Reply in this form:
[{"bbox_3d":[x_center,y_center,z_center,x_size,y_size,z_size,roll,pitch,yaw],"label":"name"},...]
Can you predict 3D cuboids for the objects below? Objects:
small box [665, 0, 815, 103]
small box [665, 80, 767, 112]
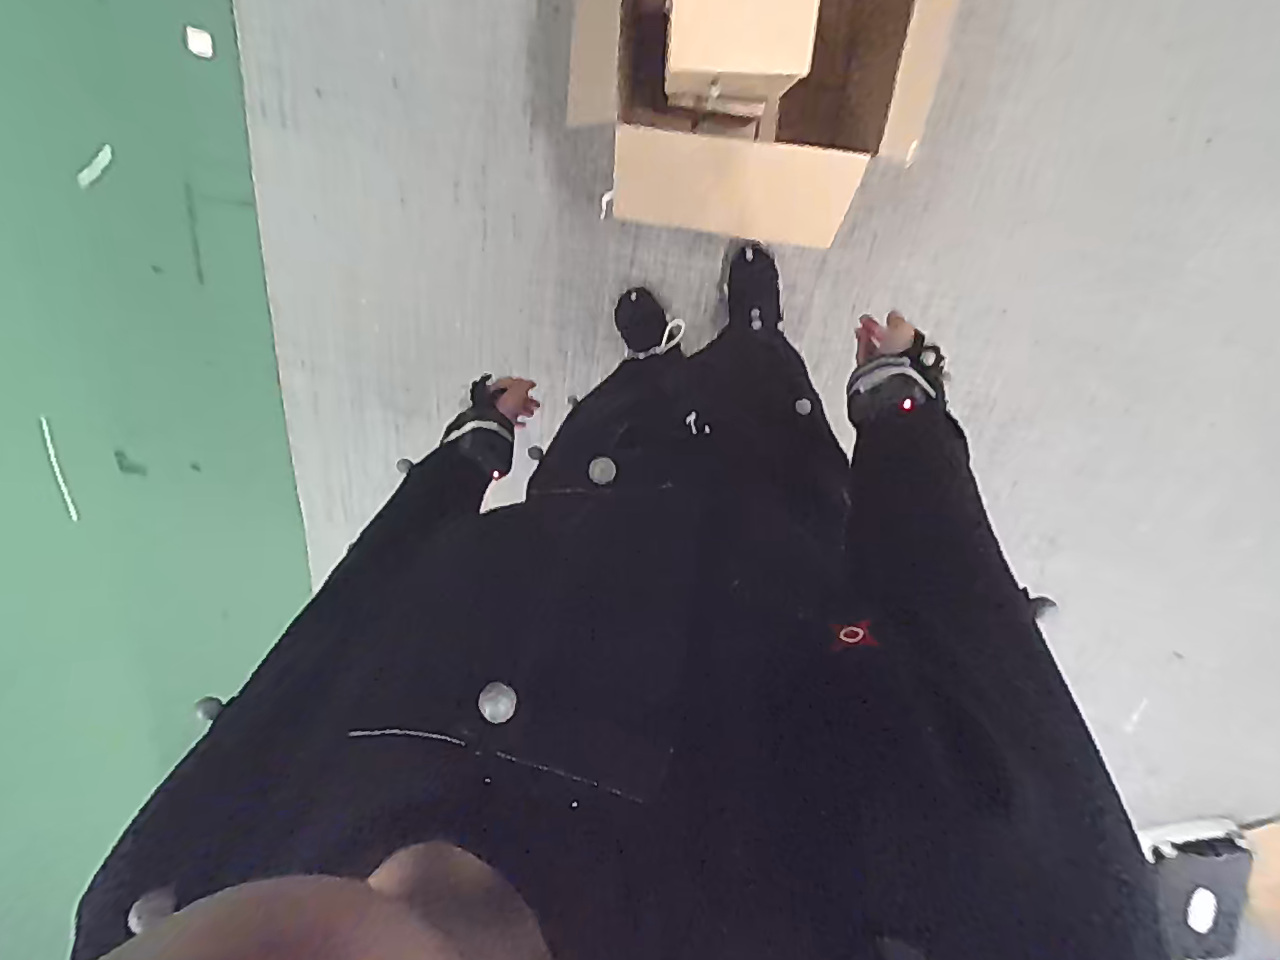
[{"bbox_3d":[0.118,-0.584,0.668,0.168,0.176,0.179,2,116,1],"label":"small box"},{"bbox_3d":[0.127,-0.671,0.805,0.168,0.176,0.179,4,117,-1],"label":"small box"}]
